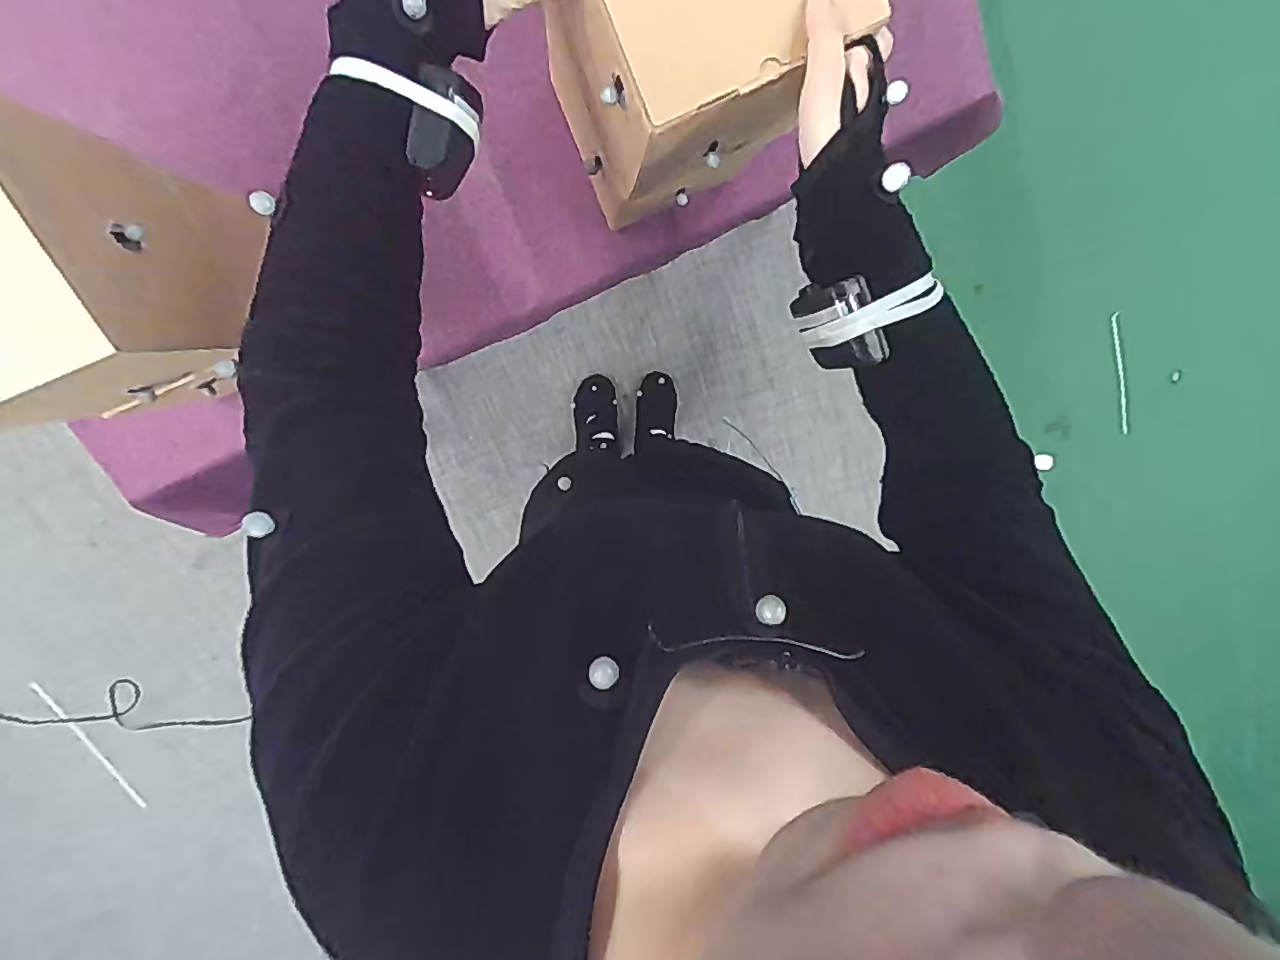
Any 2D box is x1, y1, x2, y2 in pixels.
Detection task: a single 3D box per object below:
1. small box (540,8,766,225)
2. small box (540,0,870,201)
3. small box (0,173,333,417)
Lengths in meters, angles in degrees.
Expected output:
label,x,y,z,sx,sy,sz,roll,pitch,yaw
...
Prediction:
label,x,y,z,sx,sy,sz,roll,pitch,yaw
small box,0.010,-0.389,0.569,0.168,0.176,0.179,-23,106,0
small box,0.030,-0.342,0.398,0.168,0.176,0.179,-25,105,-1
small box,-0.471,-0.181,0.567,0.179,0.176,0.168,-24,106,-1
